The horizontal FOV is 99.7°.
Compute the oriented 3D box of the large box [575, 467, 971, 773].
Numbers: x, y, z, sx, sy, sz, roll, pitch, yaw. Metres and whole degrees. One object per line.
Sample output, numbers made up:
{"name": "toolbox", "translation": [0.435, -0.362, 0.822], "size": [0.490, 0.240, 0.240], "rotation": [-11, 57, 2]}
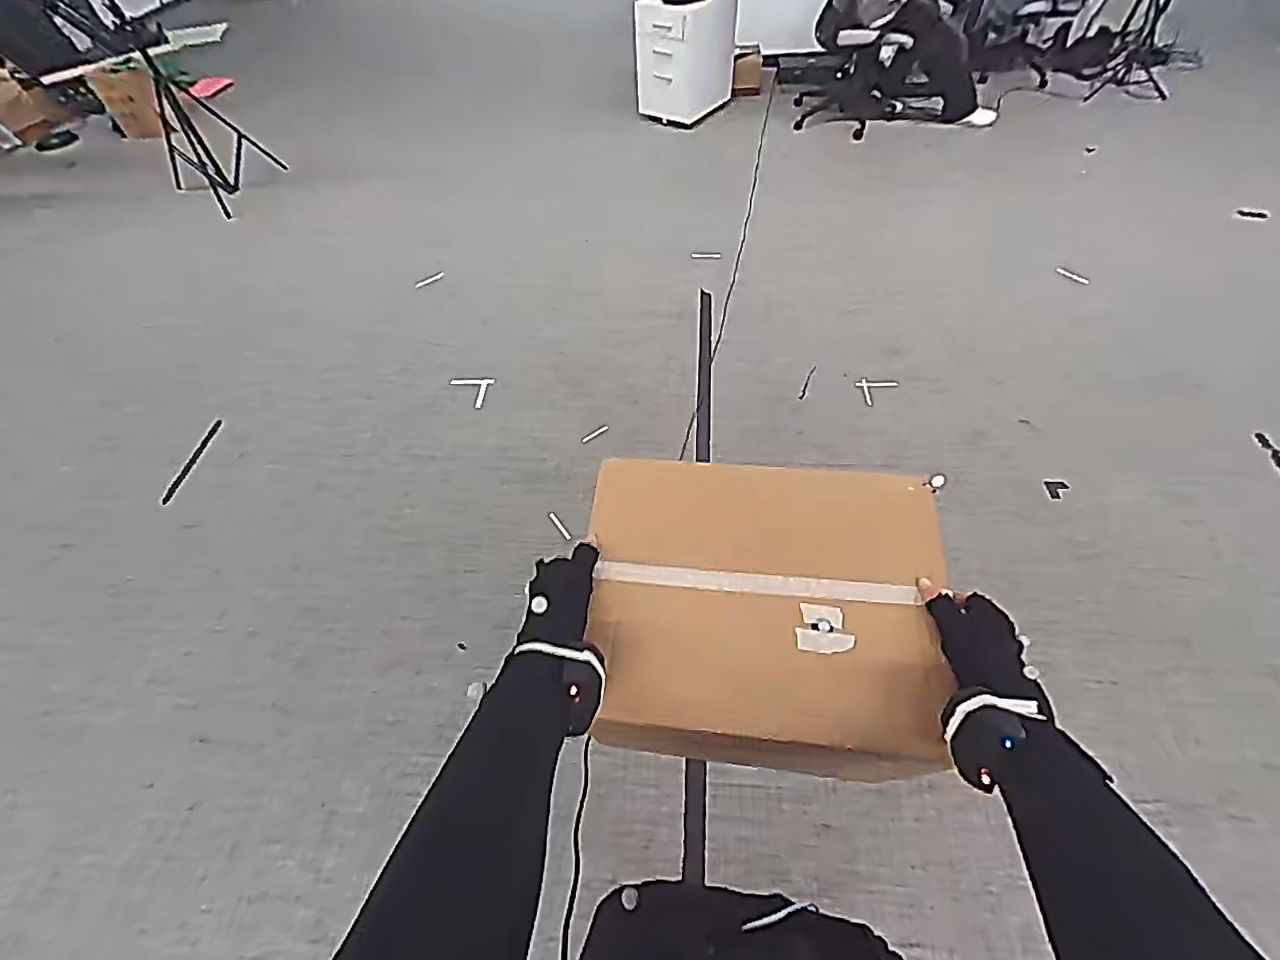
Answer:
{"name": "large box", "translation": [0.150, 0.201, 0.746], "size": [0.408, 0.320, 0.320], "rotation": [4, 60, 7]}
